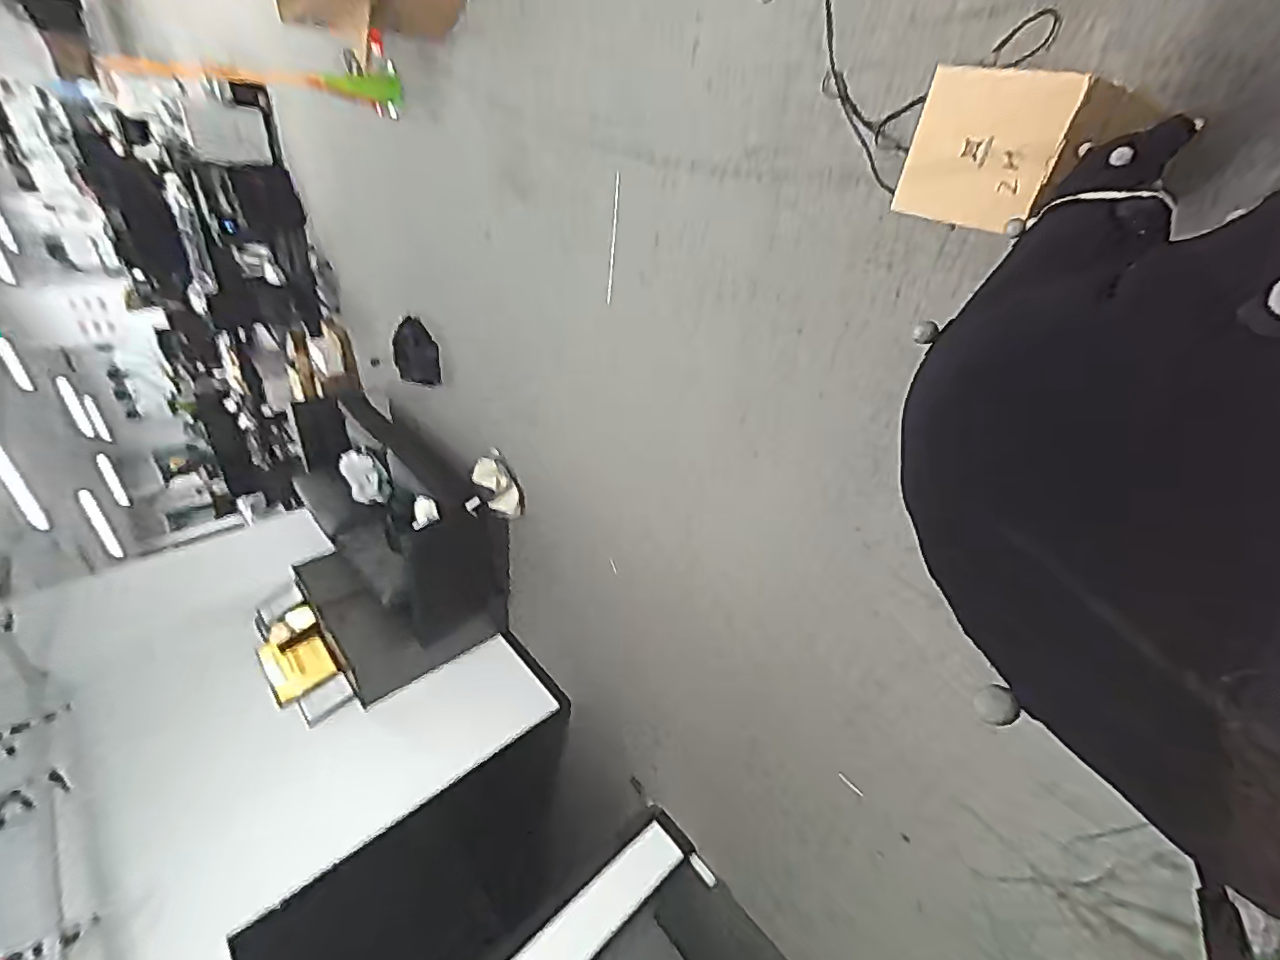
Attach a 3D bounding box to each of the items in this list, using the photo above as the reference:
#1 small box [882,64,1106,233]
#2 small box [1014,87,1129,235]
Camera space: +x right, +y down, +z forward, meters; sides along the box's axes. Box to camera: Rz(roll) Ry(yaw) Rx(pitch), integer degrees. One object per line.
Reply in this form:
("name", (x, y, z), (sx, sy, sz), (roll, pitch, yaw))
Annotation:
("small box", (0.472, -0.444, 0.731), (0.179, 0.176, 0.168), (36, 134, 33))
("small box", (0.599, -0.490, 0.826), (0.168, 0.176, 0.179), (35, 134, 33))
